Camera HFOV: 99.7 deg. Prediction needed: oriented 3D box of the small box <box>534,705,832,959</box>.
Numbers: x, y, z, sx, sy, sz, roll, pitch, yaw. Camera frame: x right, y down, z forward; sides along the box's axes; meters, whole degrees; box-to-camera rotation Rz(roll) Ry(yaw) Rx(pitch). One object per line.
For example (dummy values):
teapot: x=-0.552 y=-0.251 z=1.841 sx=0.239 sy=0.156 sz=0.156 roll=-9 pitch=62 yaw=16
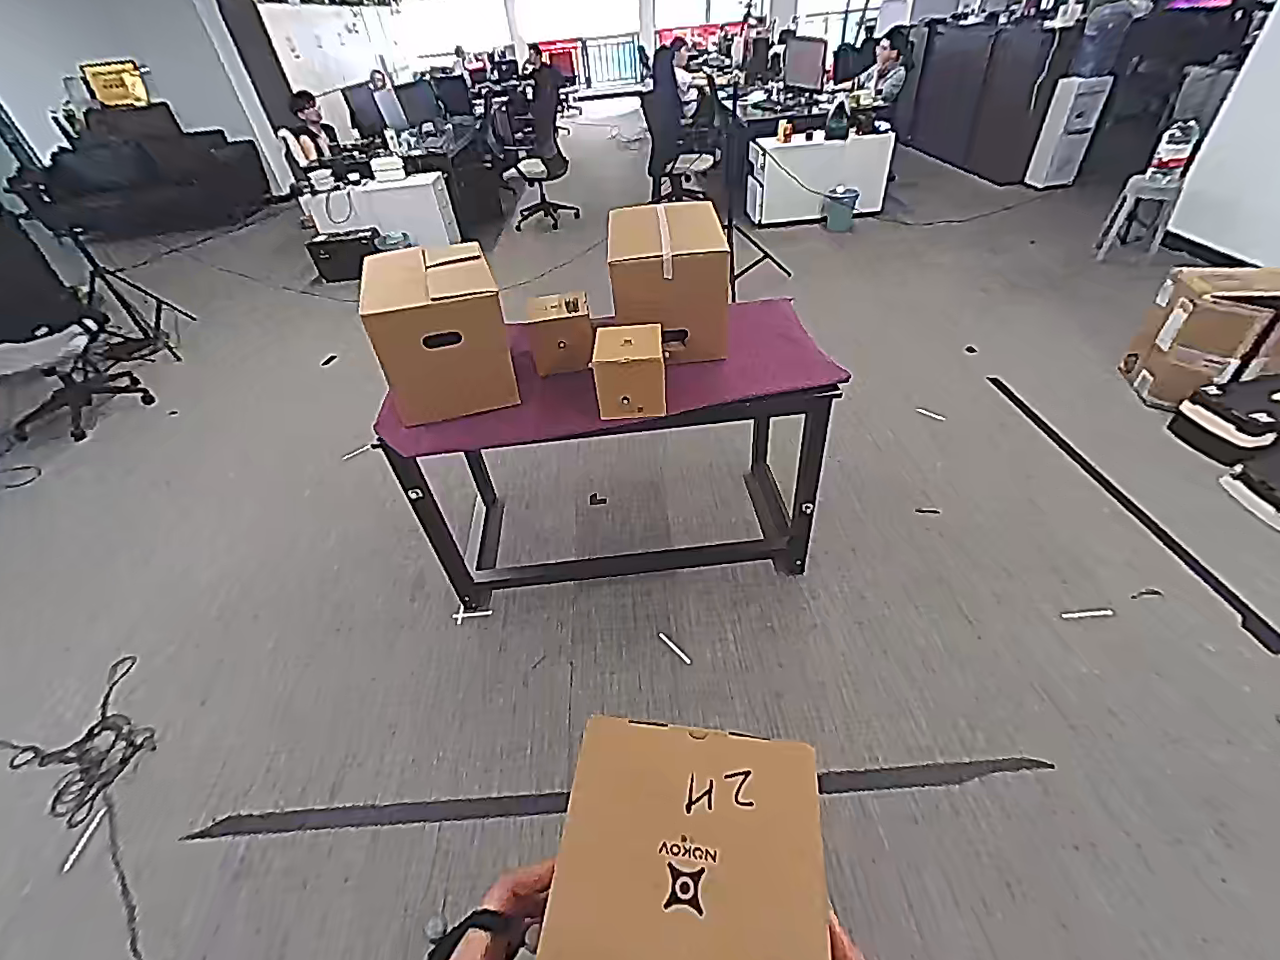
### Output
small box: x=0.035 y=0.291 z=0.385 sx=0.168 sy=0.176 sz=0.179 roll=4 pitch=43 yaw=8
